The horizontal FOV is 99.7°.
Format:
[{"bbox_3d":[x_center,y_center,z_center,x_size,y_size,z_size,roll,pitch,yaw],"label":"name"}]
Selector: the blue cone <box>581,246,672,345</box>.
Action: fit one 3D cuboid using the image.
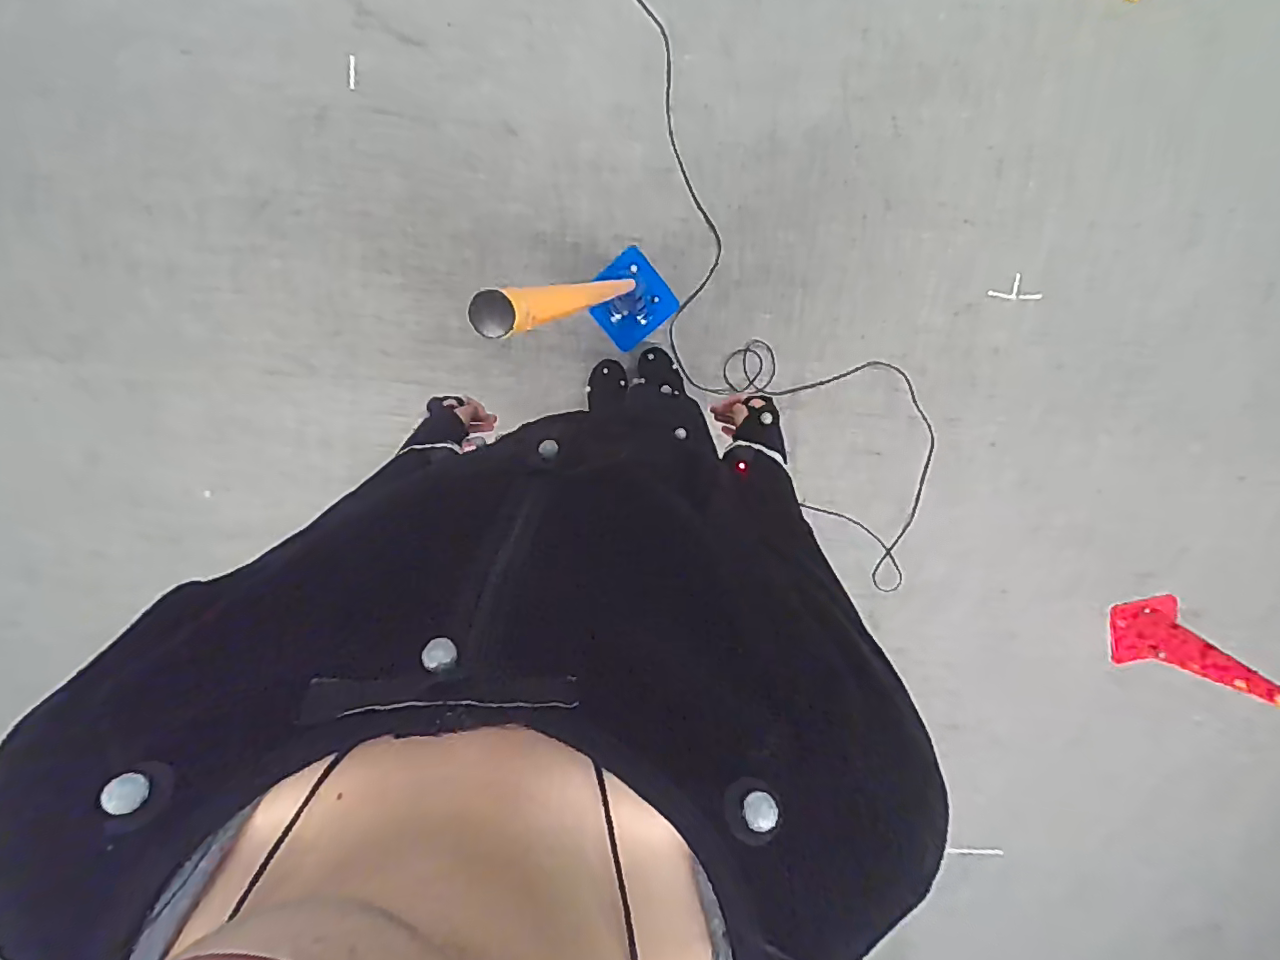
[{"bbox_3d":[-0.031,-0.425,1.220,0.193,0.380,0.192,-40,102,9],"label":"blue cone"}]
